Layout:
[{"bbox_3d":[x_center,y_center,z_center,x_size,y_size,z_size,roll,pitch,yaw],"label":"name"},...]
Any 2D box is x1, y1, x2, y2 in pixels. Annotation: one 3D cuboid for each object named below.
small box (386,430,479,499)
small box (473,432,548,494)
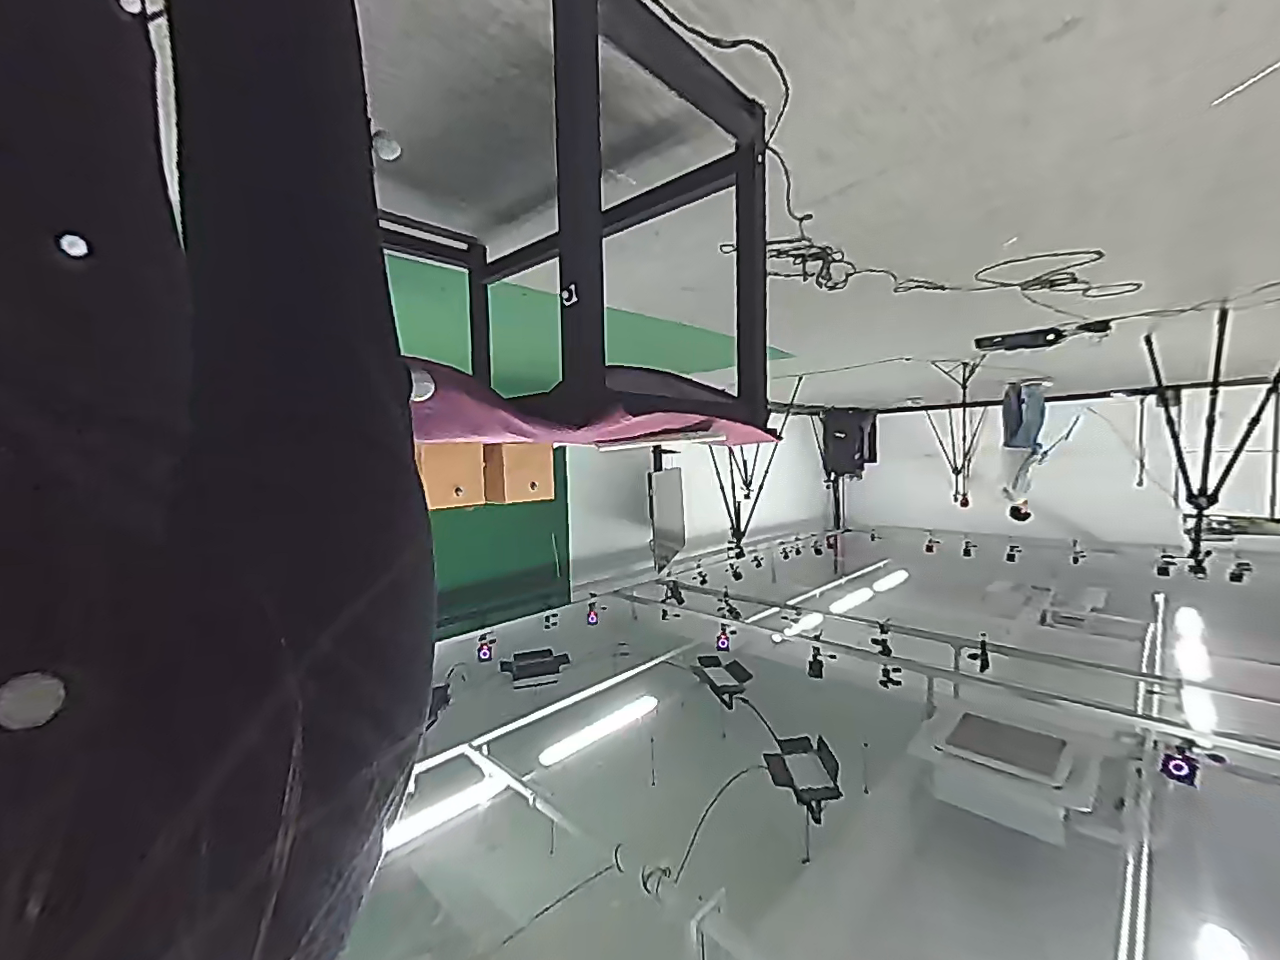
[{"bbox_3d":[-0.546,-0.041,1.419,0.168,0.176,0.179,1,-176,38],"label":"small box"},{"bbox_3d":[-0.385,-0.054,1.575,0.168,0.176,0.179,2,-176,41],"label":"small box"}]
